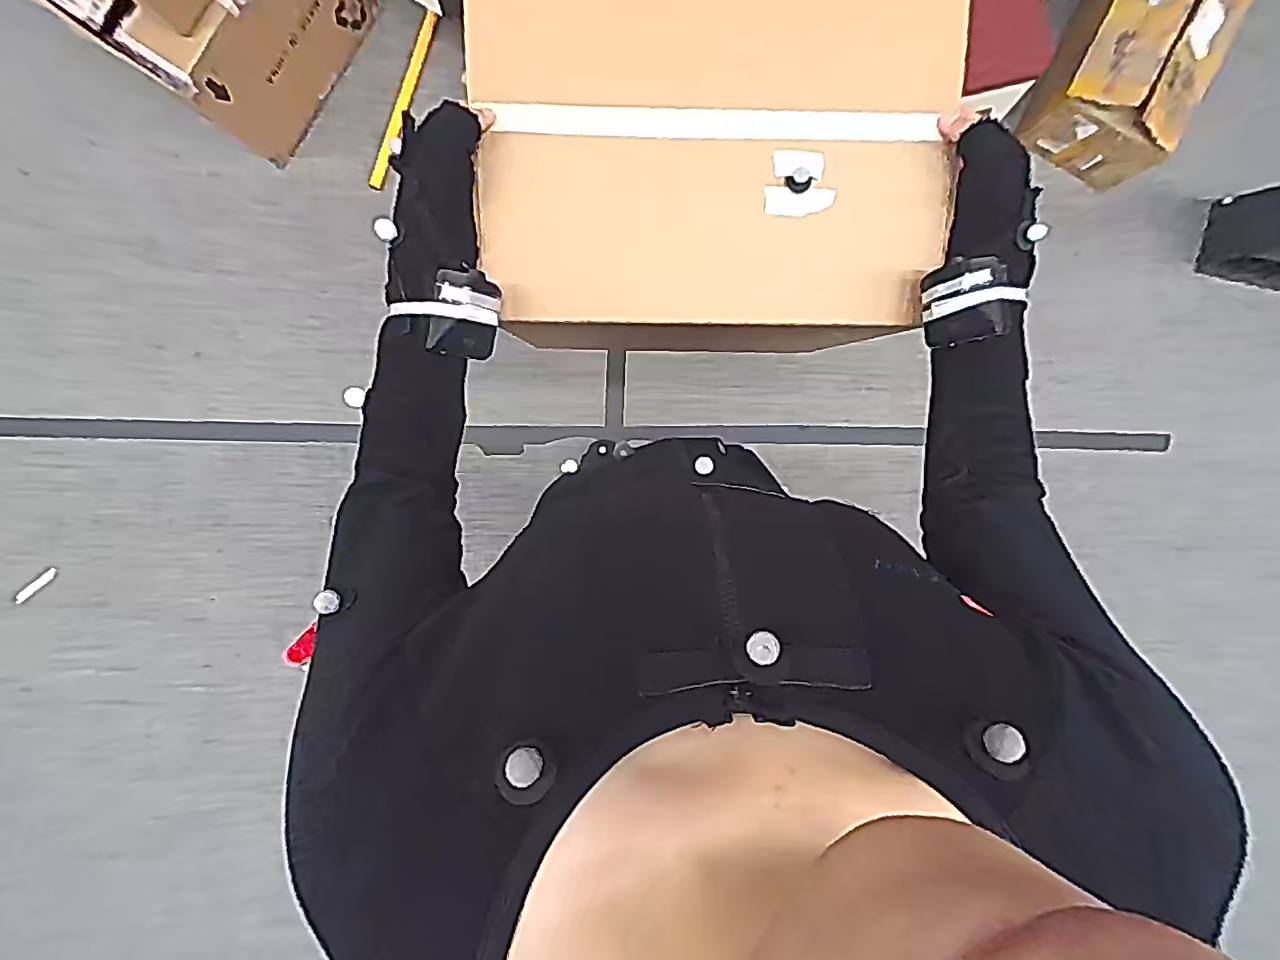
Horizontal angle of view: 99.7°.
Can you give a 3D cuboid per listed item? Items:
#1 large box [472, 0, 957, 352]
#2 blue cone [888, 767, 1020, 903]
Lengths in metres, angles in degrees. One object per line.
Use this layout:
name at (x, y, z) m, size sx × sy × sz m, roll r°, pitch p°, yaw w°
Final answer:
large box at (0.055, -0.315, 0.598) m, size 0.408 × 0.320 × 0.320 m, roll 0°, pitch 99°, yaw -4°
blue cone at (0.840, 0.951, 1.434) m, size 0.192 × 0.380 × 0.193 m, roll 4°, pitch 94°, yaw -4°
